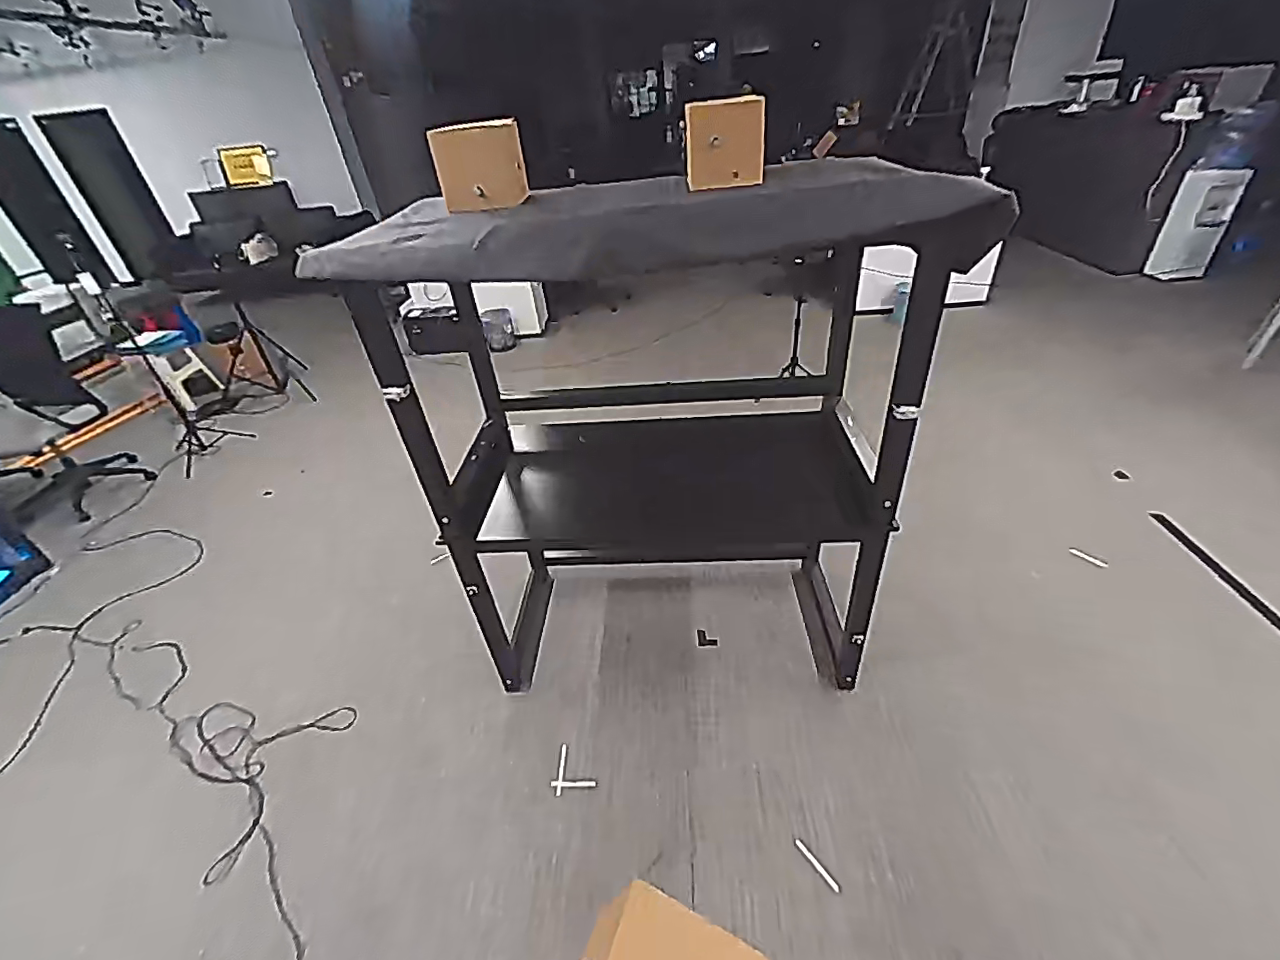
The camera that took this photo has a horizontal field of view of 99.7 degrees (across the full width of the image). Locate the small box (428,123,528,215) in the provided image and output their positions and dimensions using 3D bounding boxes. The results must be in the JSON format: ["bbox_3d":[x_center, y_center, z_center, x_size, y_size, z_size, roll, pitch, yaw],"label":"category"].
[{"bbox_3d":[-0.380,-0.752,1.308,0.179,0.176,0.168,-3,36,3],"label":"small box"}]

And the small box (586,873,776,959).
[{"bbox_3d":[0.019,0.578,0.582,0.179,0.176,0.168,27,38,7],"label":"small box"}]

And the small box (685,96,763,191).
[{"bbox_3d":[0.195,-0.784,1.267,0.168,0.176,0.179,-3,36,5],"label":"small box"}]
